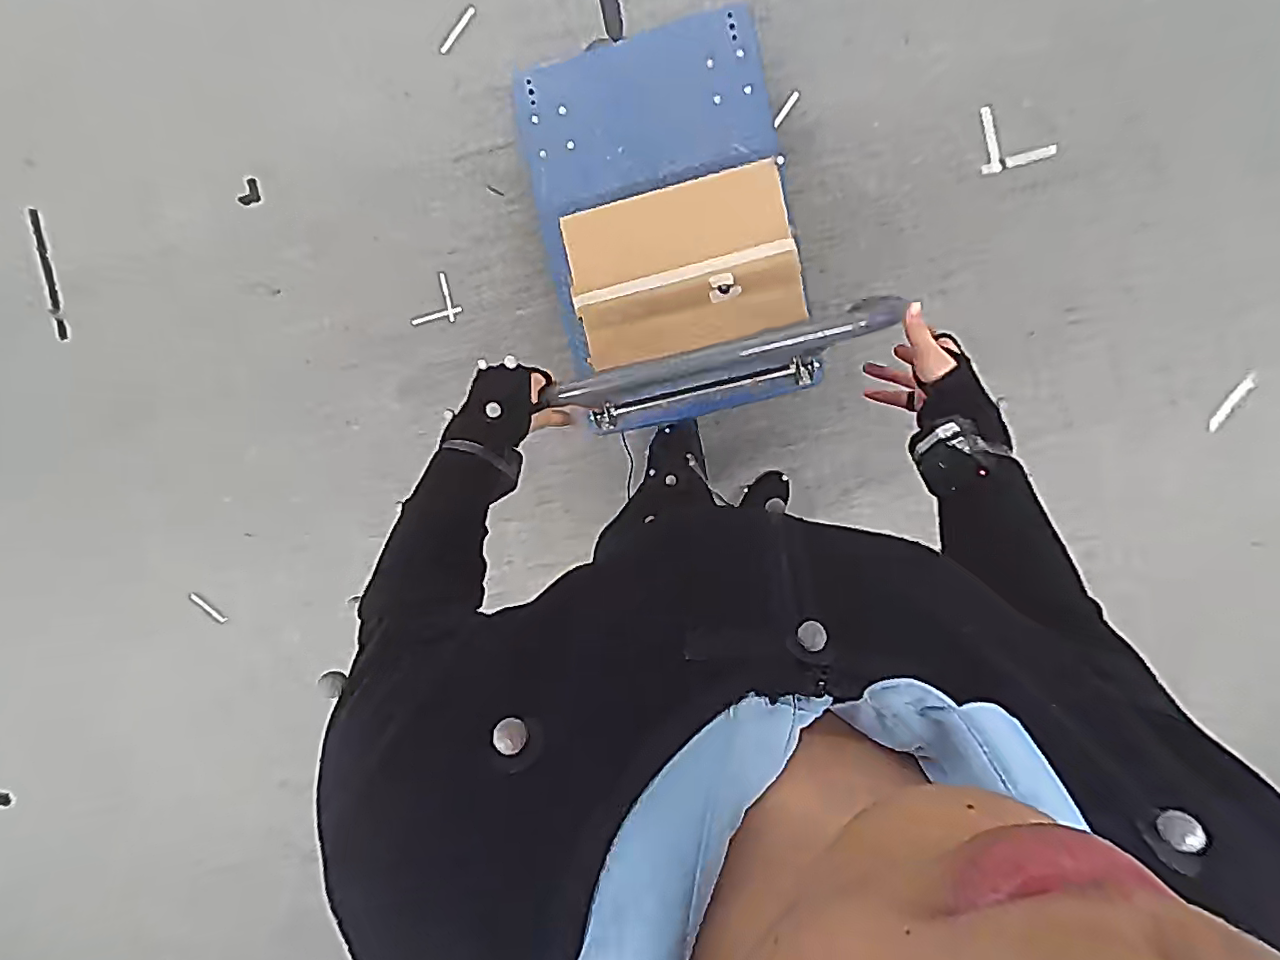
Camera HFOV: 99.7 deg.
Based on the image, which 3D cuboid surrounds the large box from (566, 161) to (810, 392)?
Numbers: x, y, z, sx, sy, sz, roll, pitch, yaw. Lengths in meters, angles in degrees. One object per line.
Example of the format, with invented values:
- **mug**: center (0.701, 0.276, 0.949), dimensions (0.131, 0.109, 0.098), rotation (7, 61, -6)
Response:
- **large box**: center (0.099, -0.391, 1.145), dimensions (0.408, 0.320, 0.320), rotation (-12, 94, 7)
